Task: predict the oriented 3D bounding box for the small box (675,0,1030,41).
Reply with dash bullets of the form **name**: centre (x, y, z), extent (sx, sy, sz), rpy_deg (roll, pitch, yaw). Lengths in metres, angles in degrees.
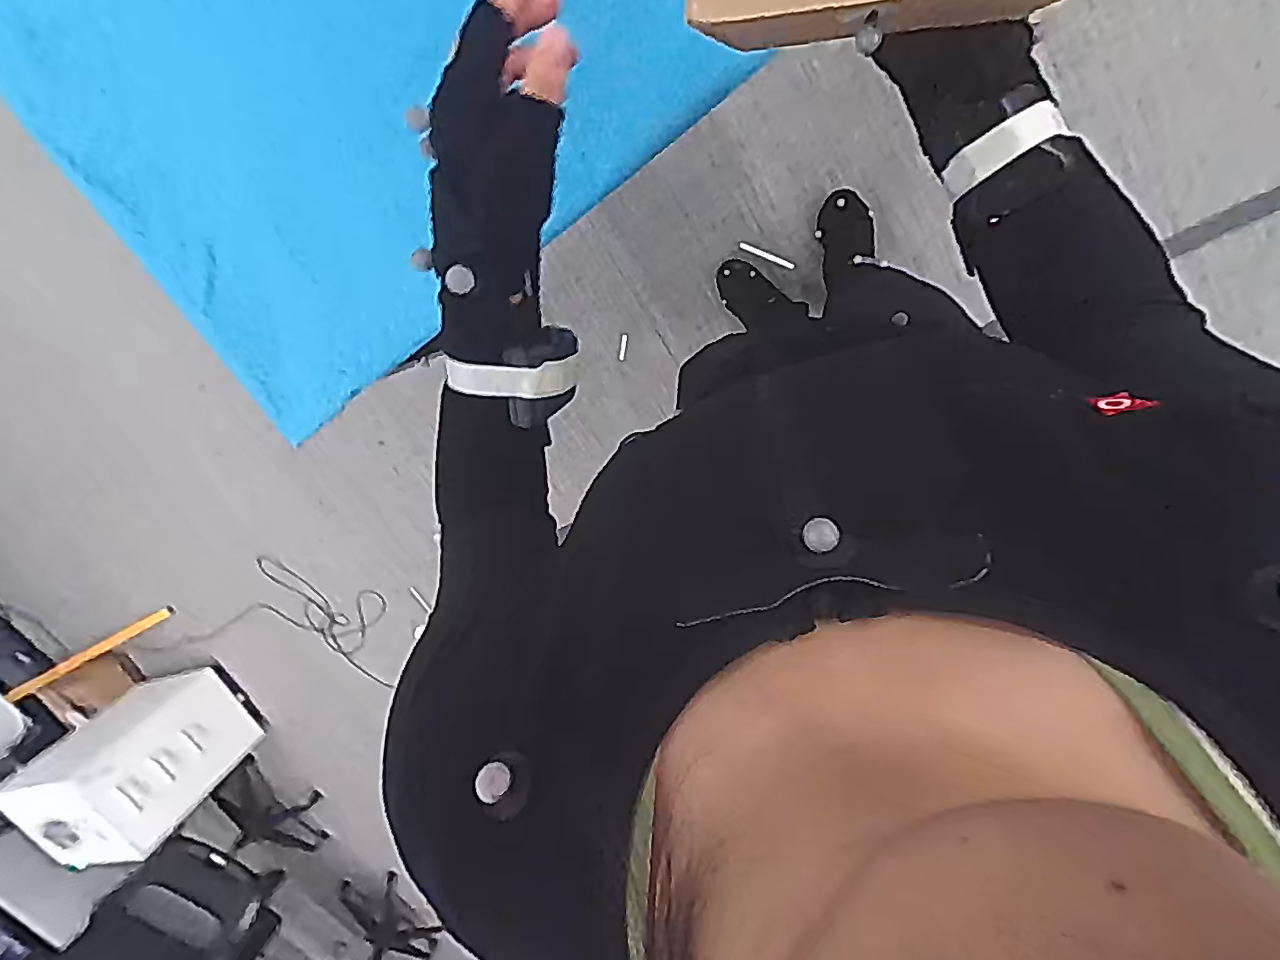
- **small box**: centre (0.120, -0.311, 0.240), extent (0.179, 0.176, 0.168), rpy_deg (8, 127, 16)
